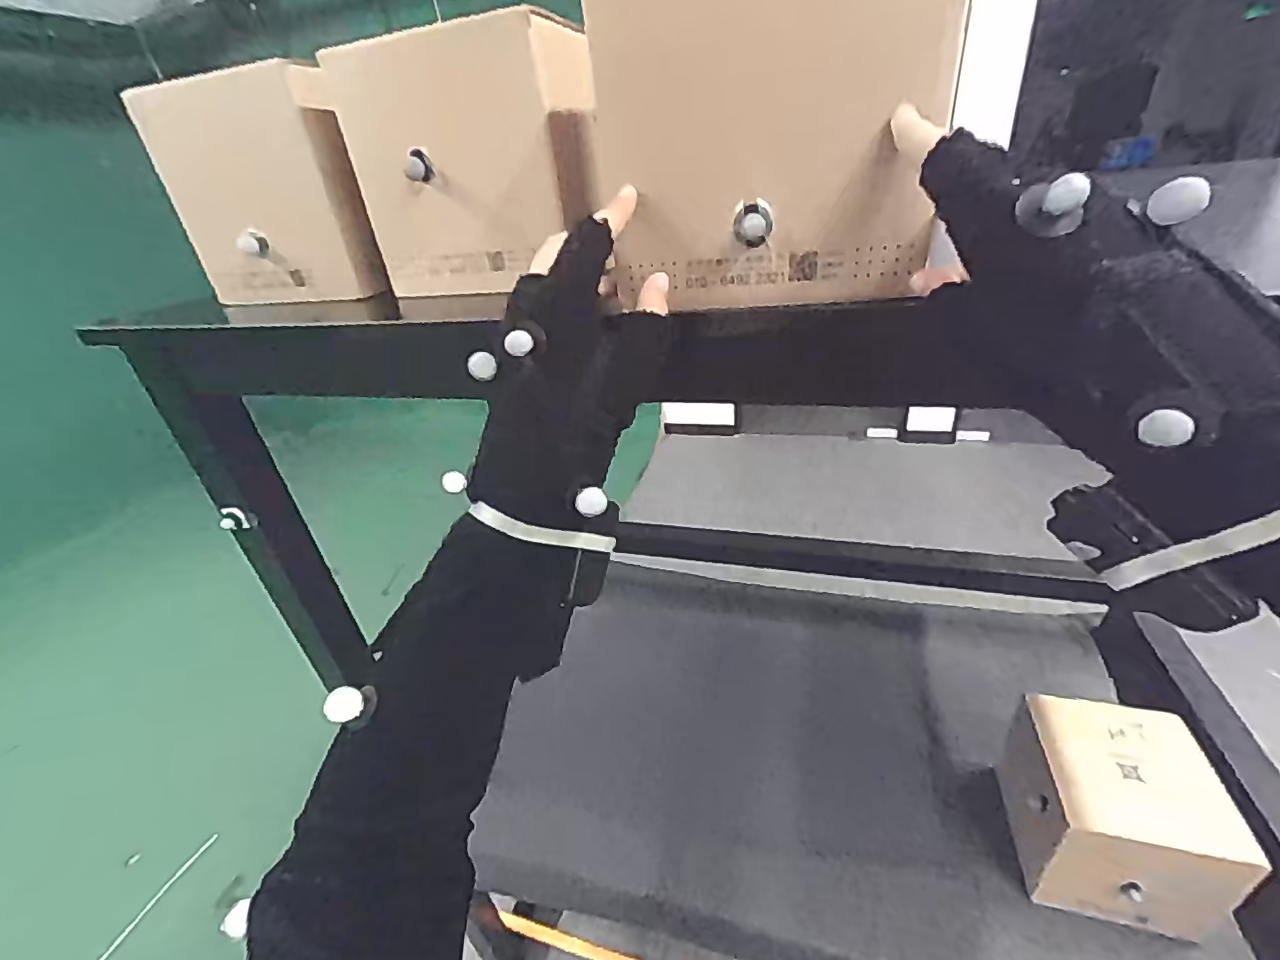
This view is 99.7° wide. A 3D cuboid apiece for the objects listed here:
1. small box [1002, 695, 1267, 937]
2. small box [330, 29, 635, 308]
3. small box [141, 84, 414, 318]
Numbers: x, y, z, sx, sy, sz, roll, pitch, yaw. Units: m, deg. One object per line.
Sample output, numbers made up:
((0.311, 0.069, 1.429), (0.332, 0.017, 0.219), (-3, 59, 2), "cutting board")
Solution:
((0.564, 0.397, 0.651), (0.168, 0.176, 0.179), (3, 30, 18), "small box")
((-0.109, -0.249, 0.463), (0.168, 0.176, 0.179), (3, 31, 18), "small box")
((-0.296, -0.262, 0.521), (0.168, 0.176, 0.179), (3, 32, 17), "small box")
